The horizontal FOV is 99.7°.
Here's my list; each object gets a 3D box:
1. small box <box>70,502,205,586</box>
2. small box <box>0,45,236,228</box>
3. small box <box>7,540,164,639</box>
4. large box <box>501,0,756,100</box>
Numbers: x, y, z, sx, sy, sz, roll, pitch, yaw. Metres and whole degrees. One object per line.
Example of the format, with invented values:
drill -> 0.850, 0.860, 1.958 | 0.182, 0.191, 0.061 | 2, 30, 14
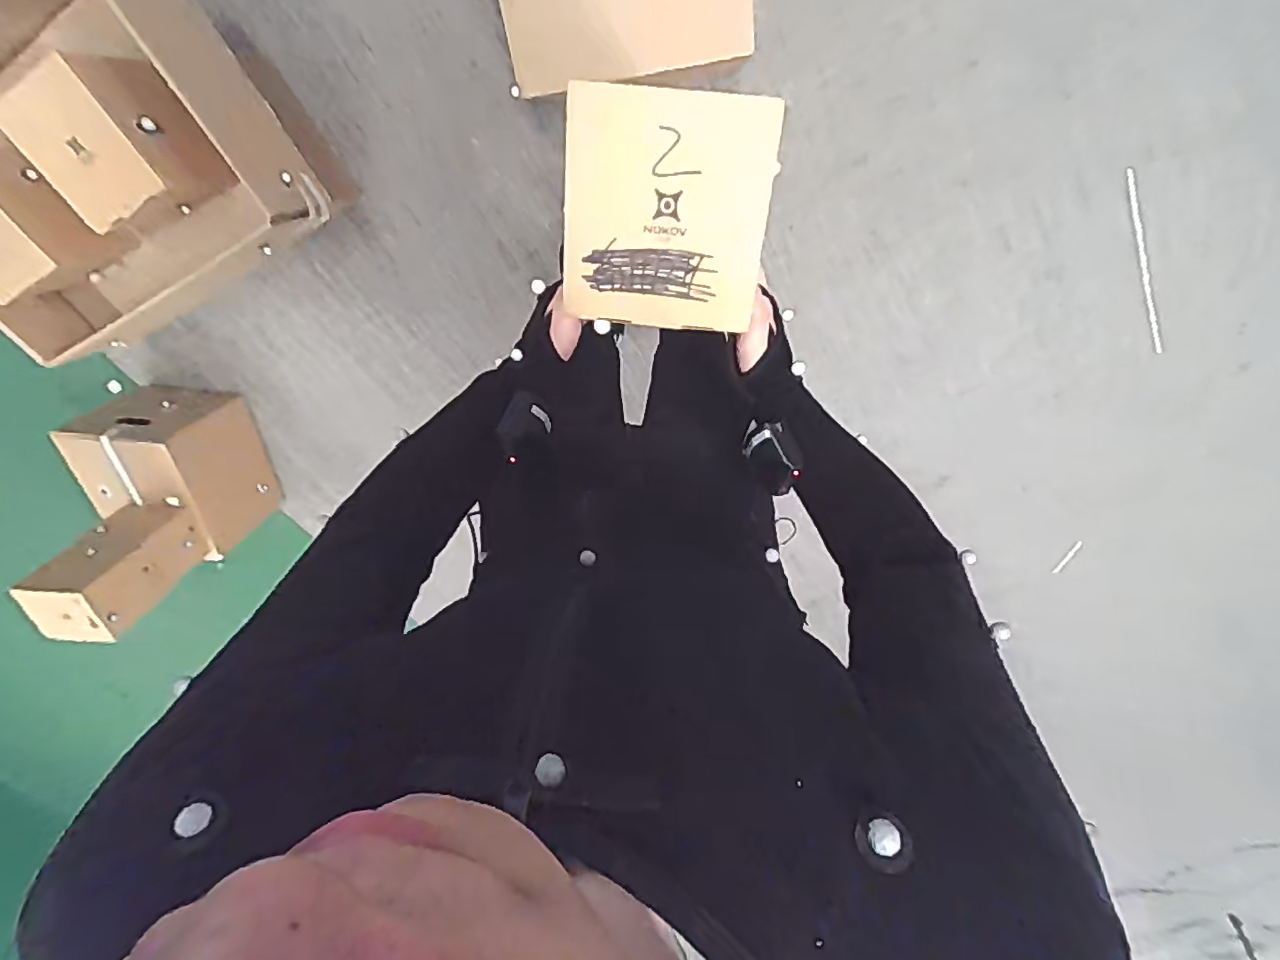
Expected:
small box -> -1.347, 0.173, 1.464 | 0.179, 0.176, 0.168 | 4, 124, 0
small box -> -0.788, -0.518, 0.827 | 0.168, 0.176, 0.179 | -19, 122, 16
small box -> -1.346, 0.265, 1.328 | 0.179, 0.176, 0.168 | 4, 124, 2
large box -> -0.018, -0.885, 0.941 | 0.408, 0.320, 0.320 | -4, 123, 9
